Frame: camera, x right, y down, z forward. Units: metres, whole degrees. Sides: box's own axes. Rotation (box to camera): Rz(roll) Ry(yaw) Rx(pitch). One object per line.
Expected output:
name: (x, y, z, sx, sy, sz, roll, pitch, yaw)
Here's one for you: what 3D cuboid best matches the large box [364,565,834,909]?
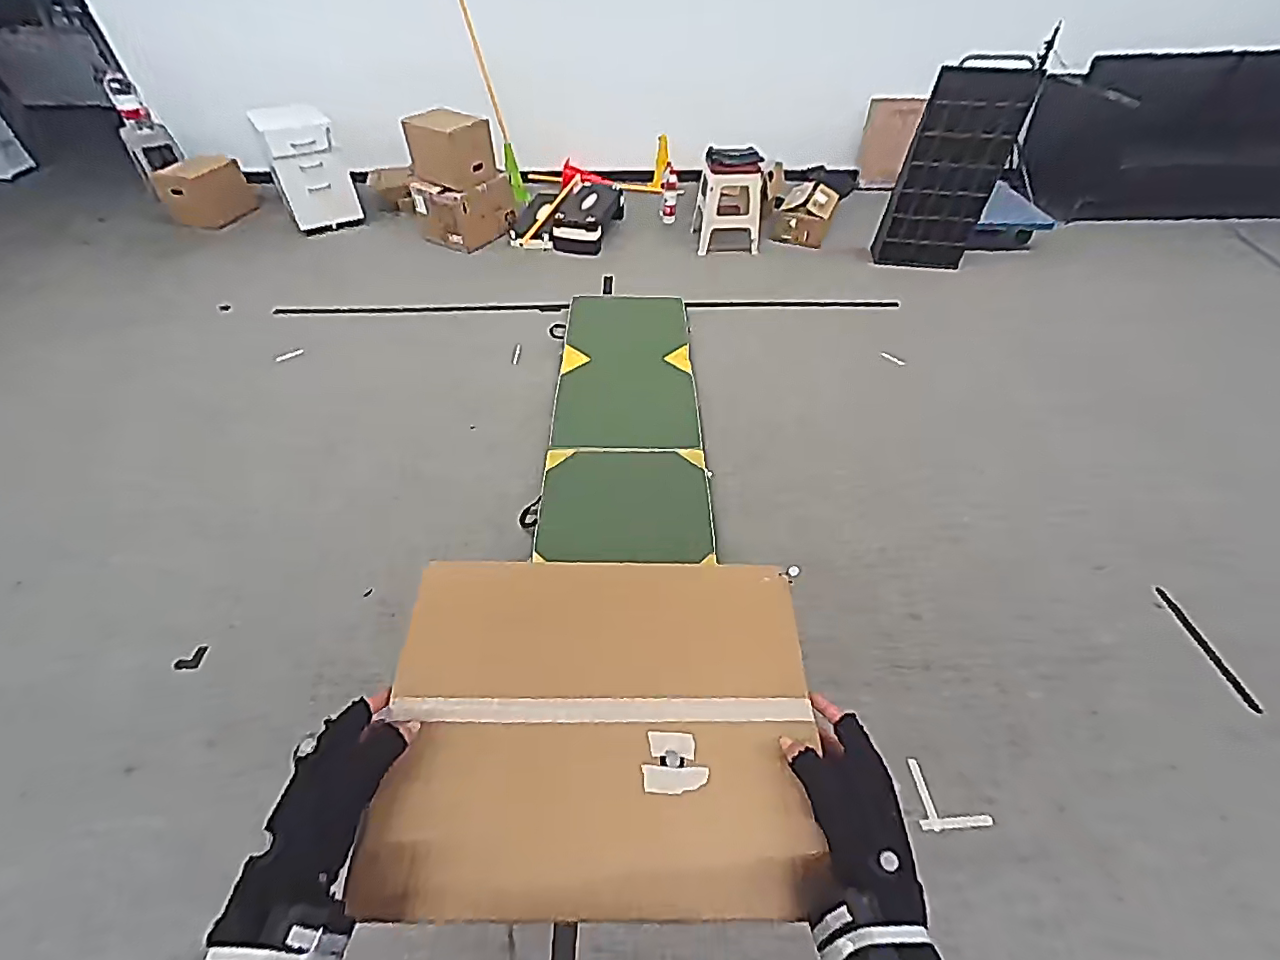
large box: (-0.040, 0.312, 0.657, 0.408, 0.320, 0.320, 1, 54, -2)
